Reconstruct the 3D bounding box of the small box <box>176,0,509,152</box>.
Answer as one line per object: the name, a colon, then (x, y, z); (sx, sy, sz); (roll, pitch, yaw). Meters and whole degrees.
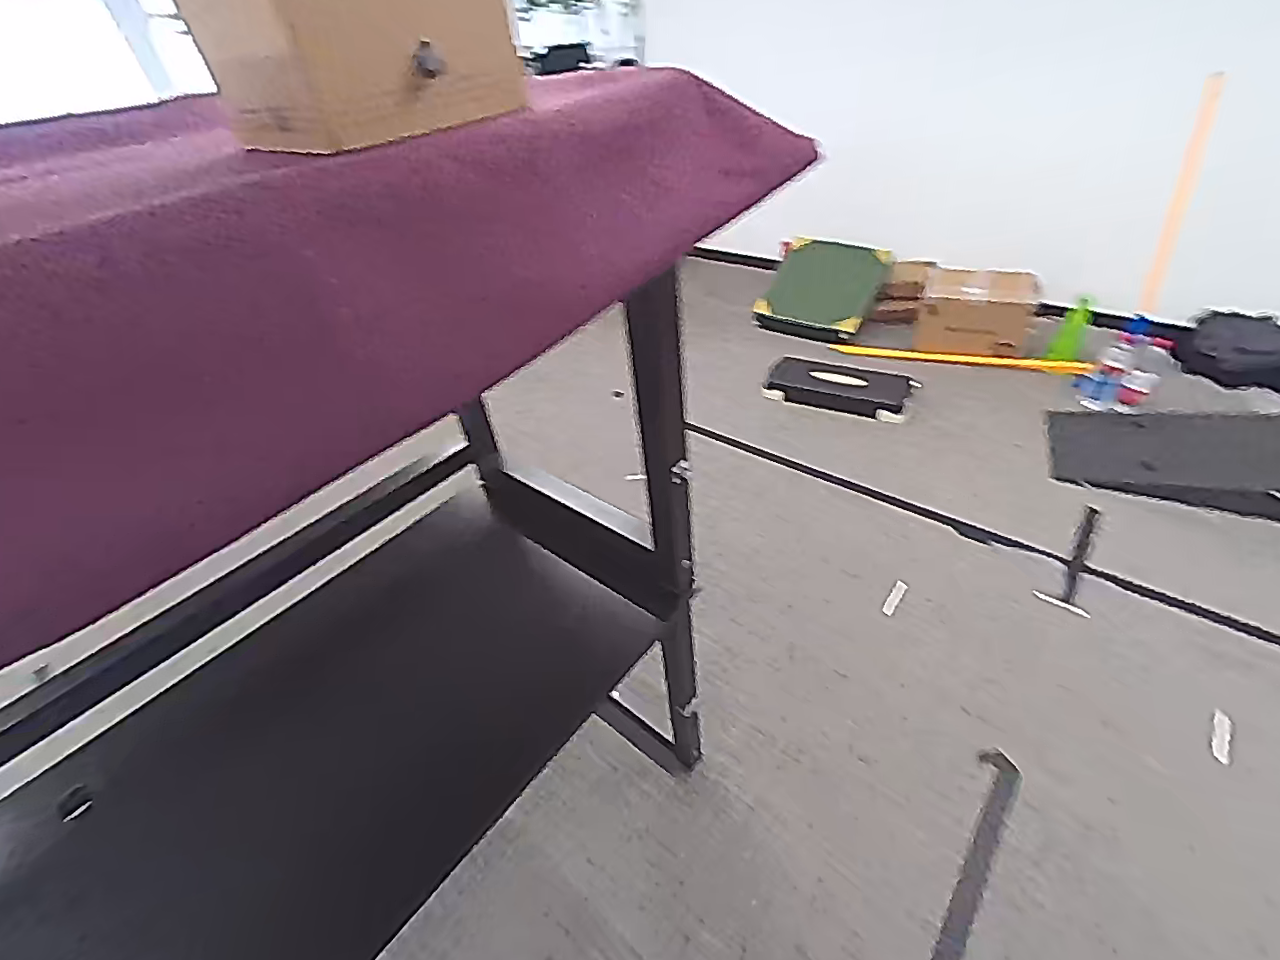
small box: (-0.215, -0.351, 0.387); (0.168, 0.176, 0.179); (23, 49, 32)
